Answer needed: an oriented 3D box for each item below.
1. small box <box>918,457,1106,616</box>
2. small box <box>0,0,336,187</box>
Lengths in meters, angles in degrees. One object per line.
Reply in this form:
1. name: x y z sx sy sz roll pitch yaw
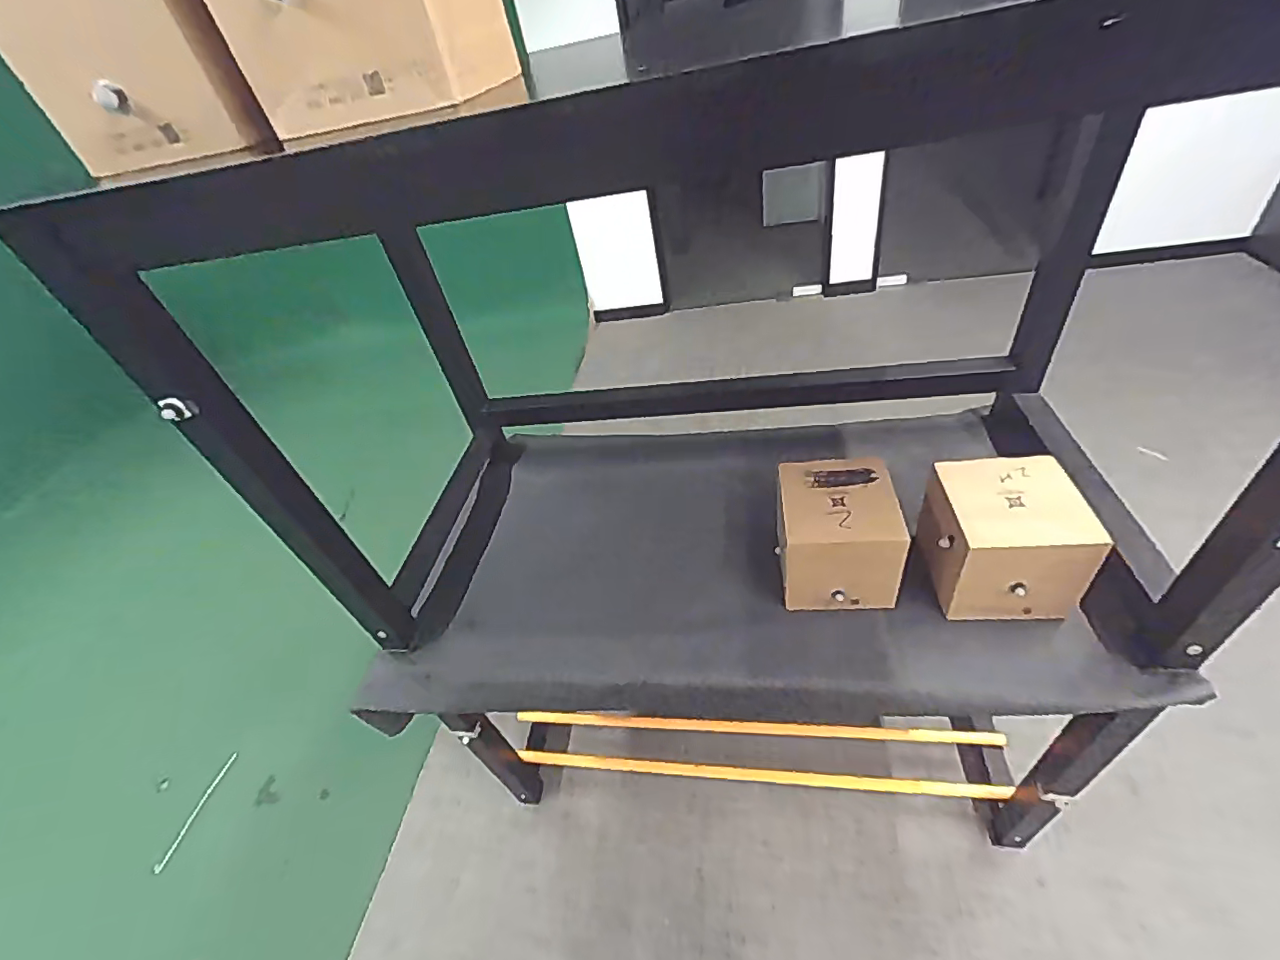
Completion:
1. small box: 0.533 0.089 0.807 0.168 0.176 0.179 -4 41 11
2. small box: -0.416 -0.385 0.487 0.168 0.176 0.179 -3 43 12
